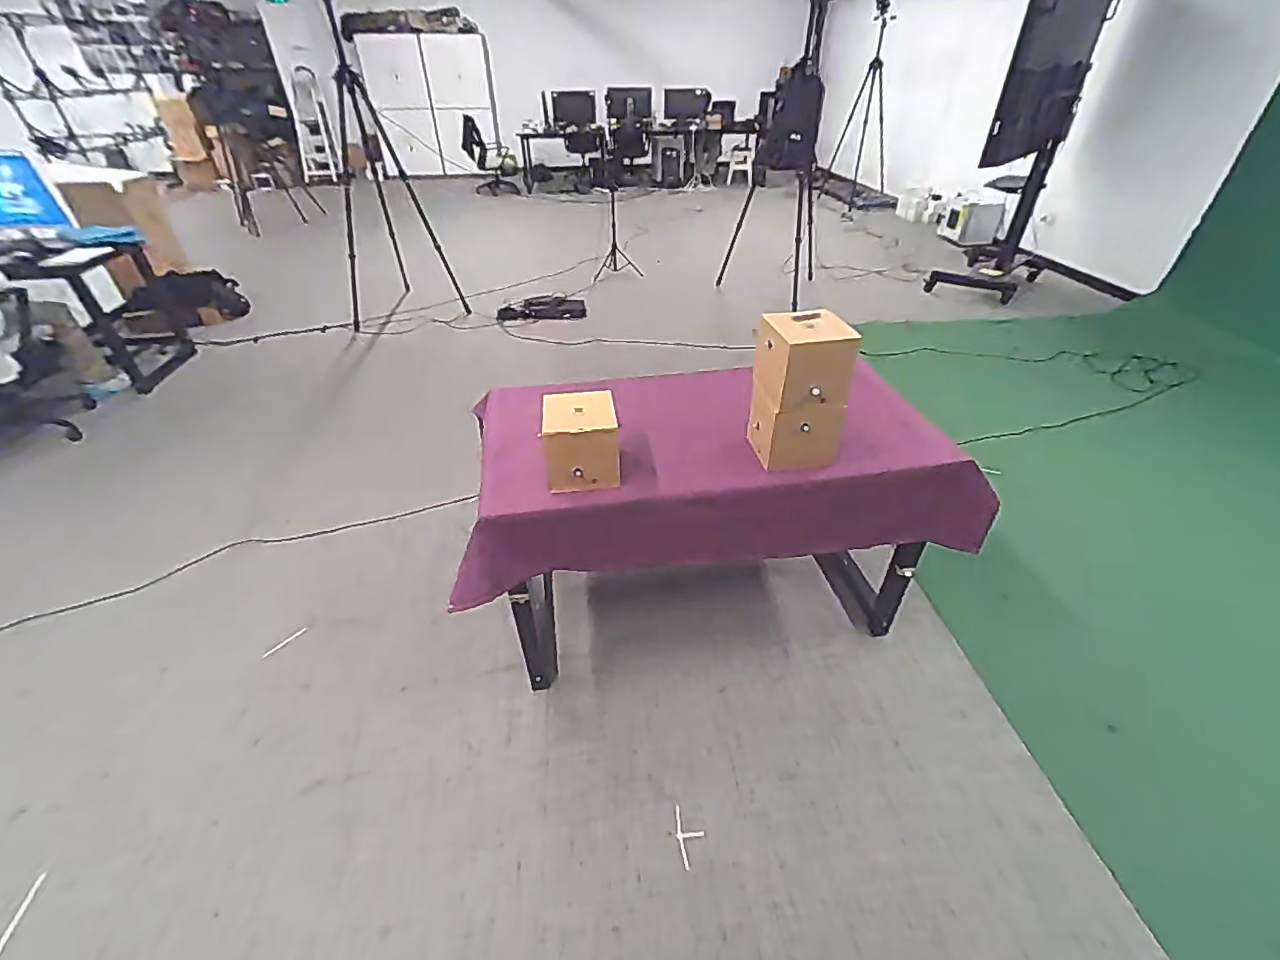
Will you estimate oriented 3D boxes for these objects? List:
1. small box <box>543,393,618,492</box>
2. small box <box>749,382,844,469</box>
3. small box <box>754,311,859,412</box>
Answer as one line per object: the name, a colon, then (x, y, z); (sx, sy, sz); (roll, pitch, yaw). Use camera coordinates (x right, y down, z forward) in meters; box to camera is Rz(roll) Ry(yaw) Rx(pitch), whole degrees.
small box: (-0.141, -0.091, 1.292); (0.168, 0.176, 0.179); (-5, 38, -6)
small box: (0.376, -0.139, 1.341); (0.179, 0.176, 0.168); (-5, 38, -6)
small box: (0.372, -0.275, 1.248); (0.168, 0.176, 0.179); (-7, 38, -7)
